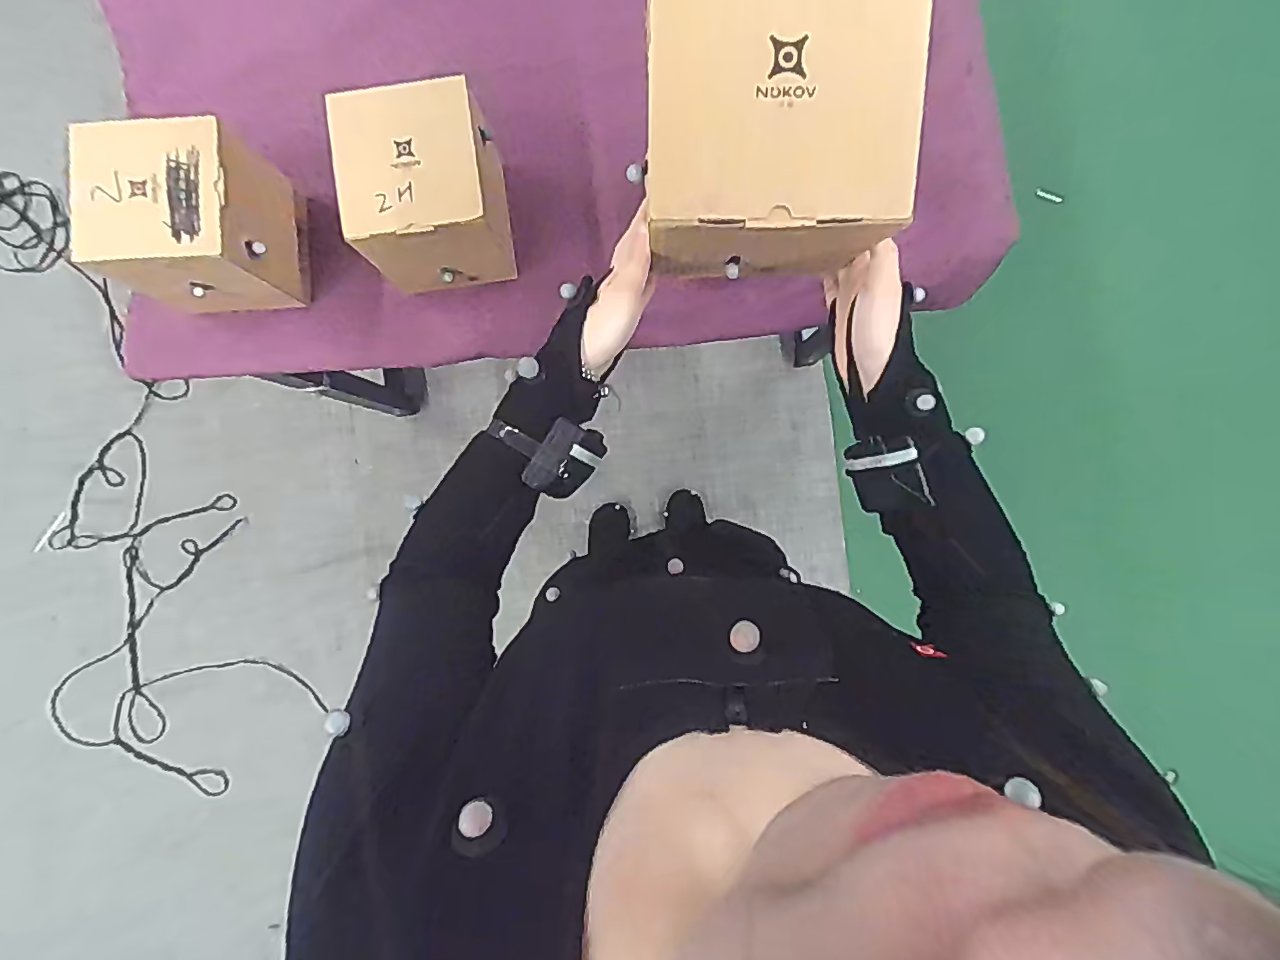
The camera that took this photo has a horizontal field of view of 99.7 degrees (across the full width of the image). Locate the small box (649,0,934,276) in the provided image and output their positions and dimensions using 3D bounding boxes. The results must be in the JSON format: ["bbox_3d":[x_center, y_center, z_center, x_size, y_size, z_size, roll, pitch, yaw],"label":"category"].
[{"bbox_3d":[0.090,-0.259,0.401,0.168,0.176,0.179,0,101,2],"label":"small box"}]

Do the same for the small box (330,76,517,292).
[{"bbox_3d":[-0.267,-0.368,0.701,0.168,0.176,0.179,-8,88,0],"label":"small box"}]
